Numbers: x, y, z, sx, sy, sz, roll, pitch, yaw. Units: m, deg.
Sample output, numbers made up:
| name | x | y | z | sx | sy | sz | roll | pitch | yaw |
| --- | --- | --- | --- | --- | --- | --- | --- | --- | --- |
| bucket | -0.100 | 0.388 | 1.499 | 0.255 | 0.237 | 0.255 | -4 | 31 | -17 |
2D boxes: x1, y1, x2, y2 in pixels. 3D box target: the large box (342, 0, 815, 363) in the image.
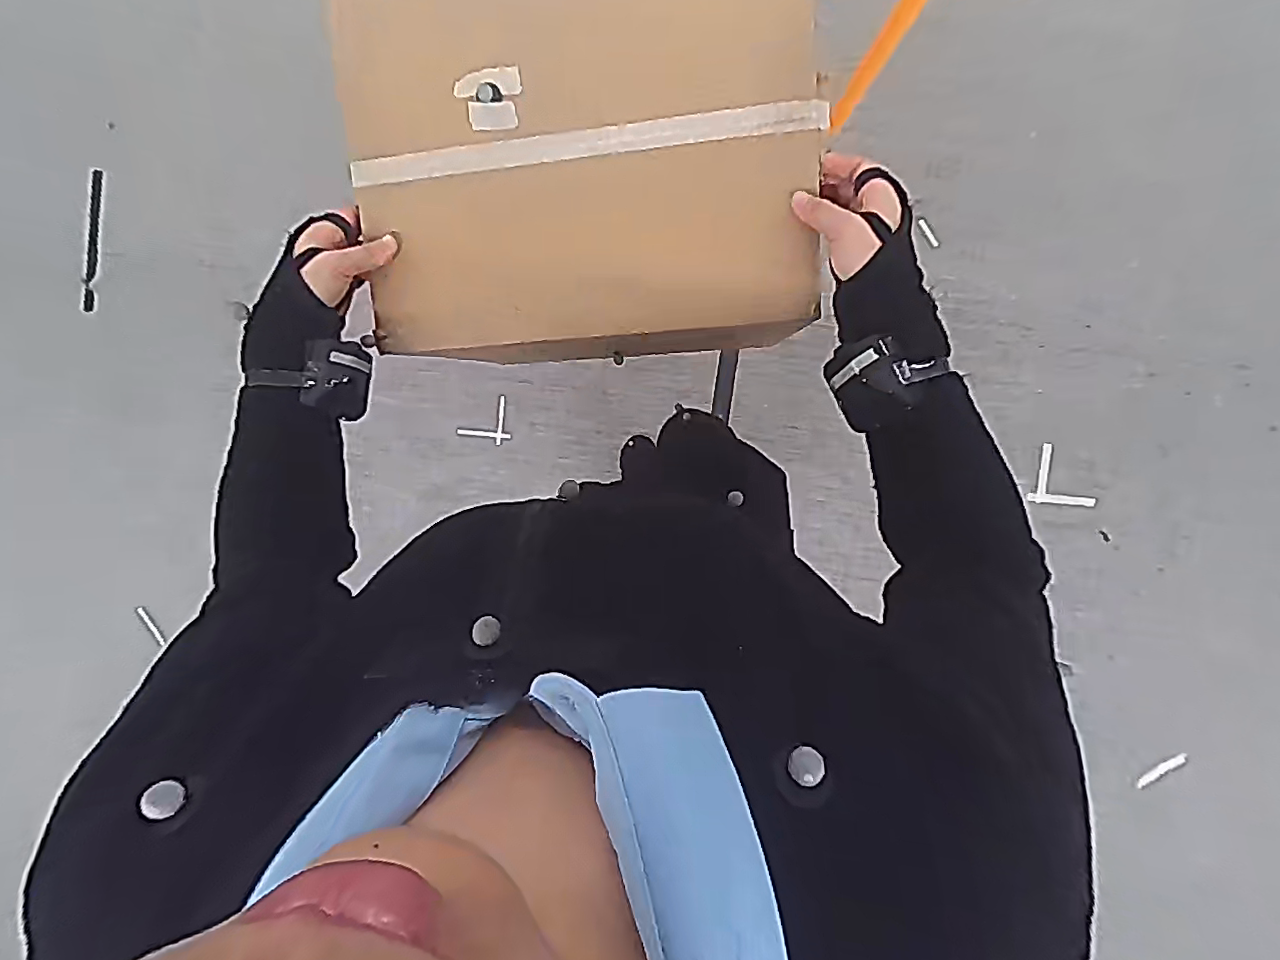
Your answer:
| name | x | y | z | sx | sy | sz | roll | pitch | yaw |
| --- | --- | --- | --- | --- | --- | --- | --- | --- | --- |
| large box | -0.036 | -0.312 | 0.618 | 0.408 | 0.320 | 0.320 | -3 | 98 | 8 |
